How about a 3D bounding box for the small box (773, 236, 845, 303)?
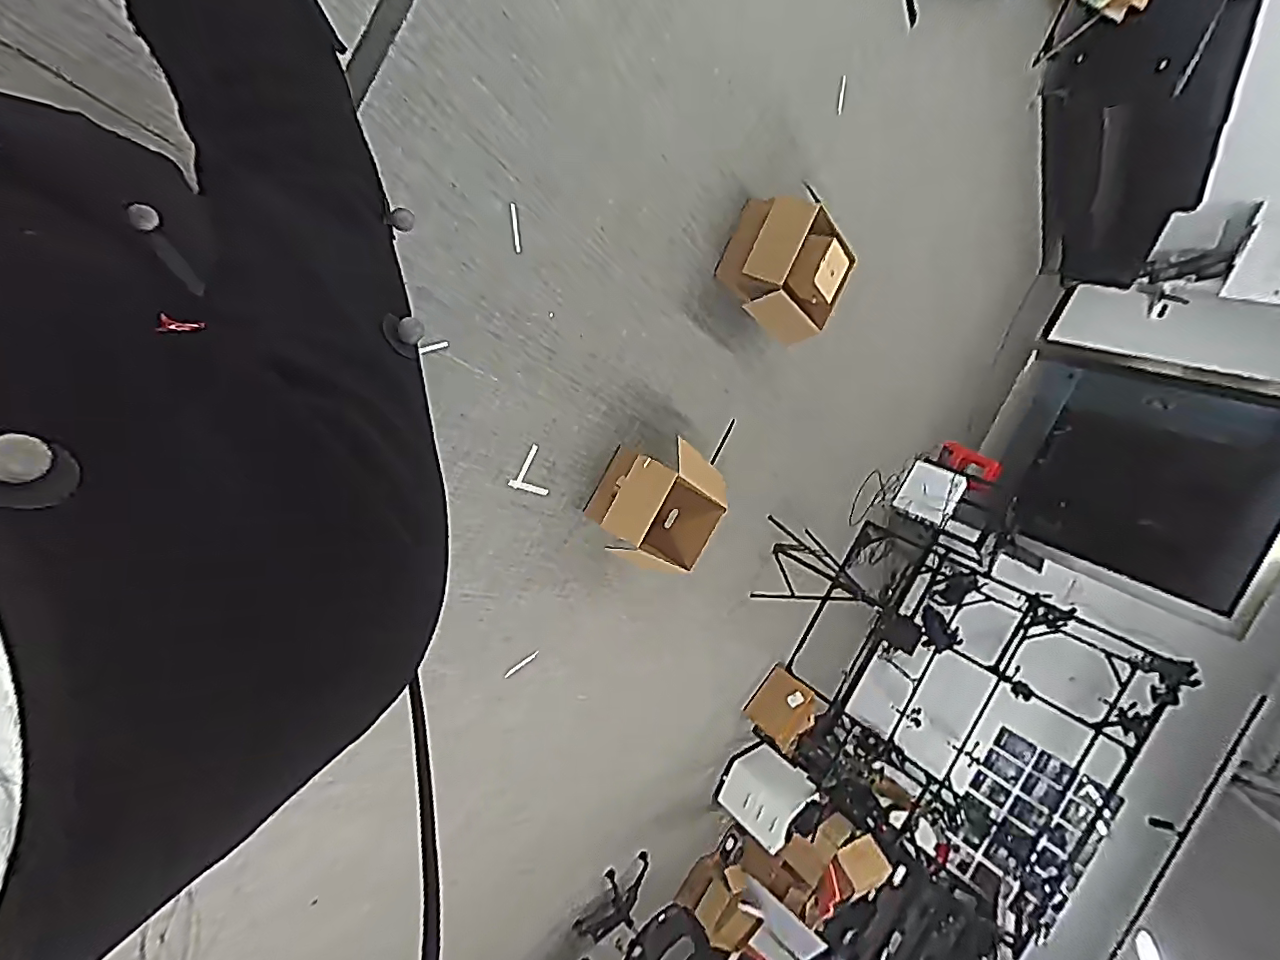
[{"bbox_3d":[0.626,-0.786,2.008,0.179,0.176,0.168,20,97,-50],"label":"small box"}]
